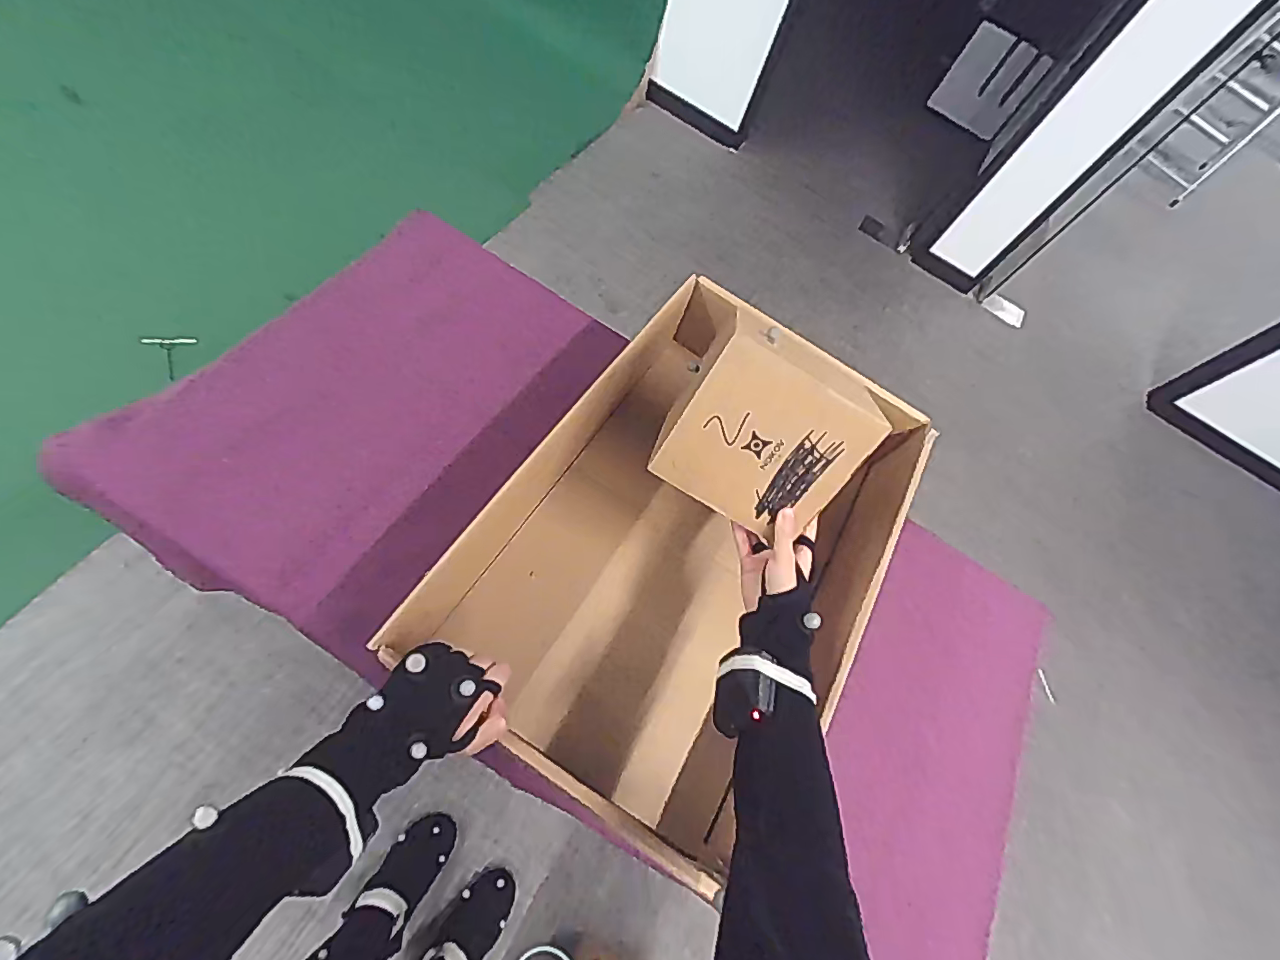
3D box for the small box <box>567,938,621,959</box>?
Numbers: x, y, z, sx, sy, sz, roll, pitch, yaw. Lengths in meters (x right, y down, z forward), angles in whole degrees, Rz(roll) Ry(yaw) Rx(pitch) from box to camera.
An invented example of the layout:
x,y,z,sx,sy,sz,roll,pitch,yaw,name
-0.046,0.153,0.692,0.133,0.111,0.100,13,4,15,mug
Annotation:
x,y,z,sx,sy,sz,roll,pitch,yaw,name
-0.075,1.028,1.032,0.179,0.176,0.168,32,62,3,small box
